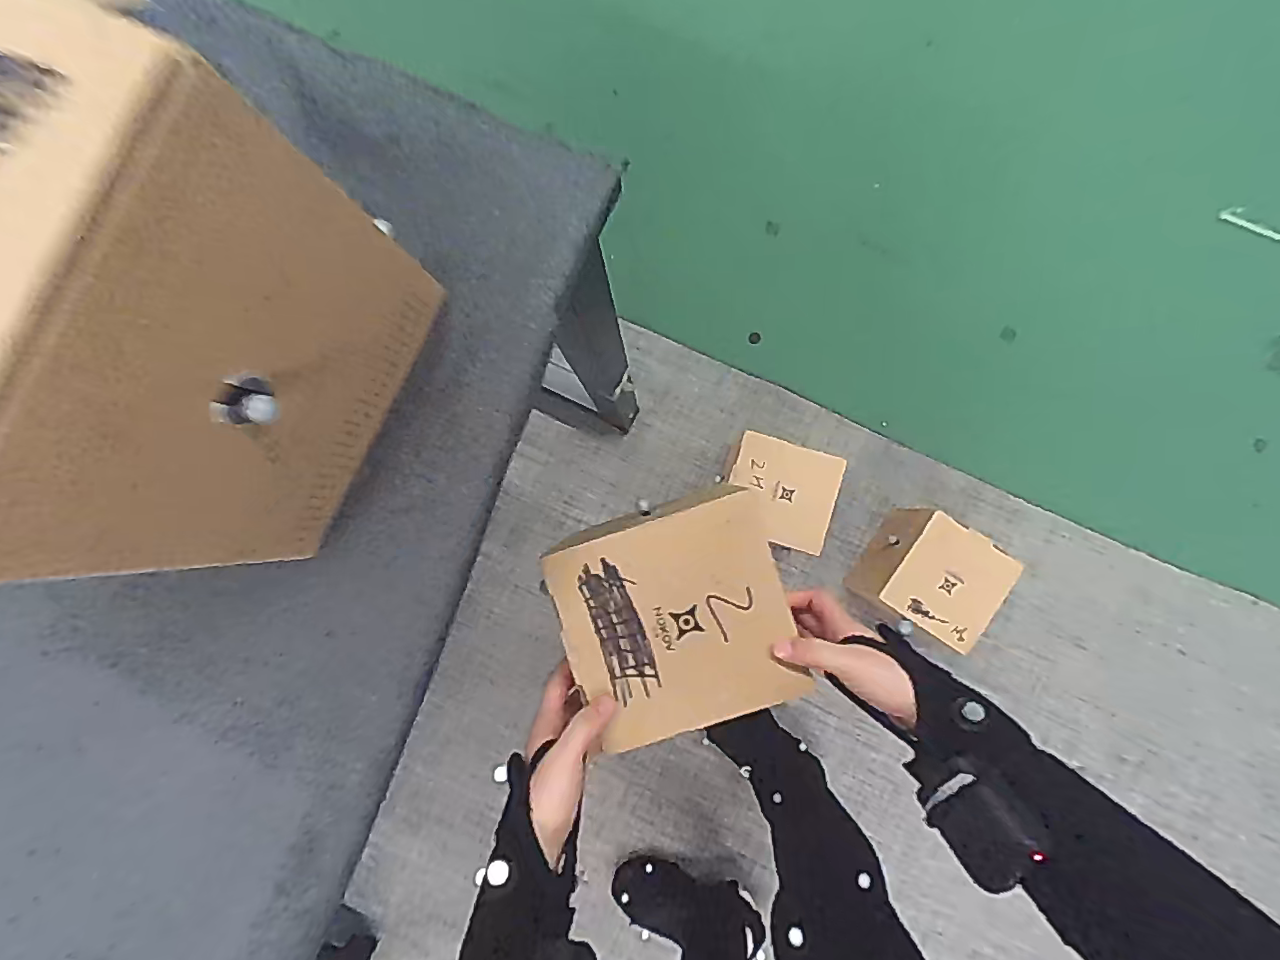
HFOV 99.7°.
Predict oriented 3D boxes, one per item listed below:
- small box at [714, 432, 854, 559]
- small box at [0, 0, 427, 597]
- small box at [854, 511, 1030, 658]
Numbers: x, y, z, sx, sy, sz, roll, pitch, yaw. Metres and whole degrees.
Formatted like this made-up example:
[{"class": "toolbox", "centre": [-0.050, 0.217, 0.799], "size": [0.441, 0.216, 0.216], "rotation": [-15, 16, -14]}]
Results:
[{"class": "small box", "centre": [0.241, 0.028, 0.949], "size": [0.179, 0.176, 0.168], "rotation": [18, 87, 4]}, {"class": "small box", "centre": [-0.226, -0.071, 0.241], "size": [0.168, 0.176, 0.179], "rotation": [26, 89, 8]}, {"class": "small box", "centre": [0.502, 0.168, 0.929], "size": [0.168, 0.176, 0.179], "rotation": [35, 89, 3]}]
